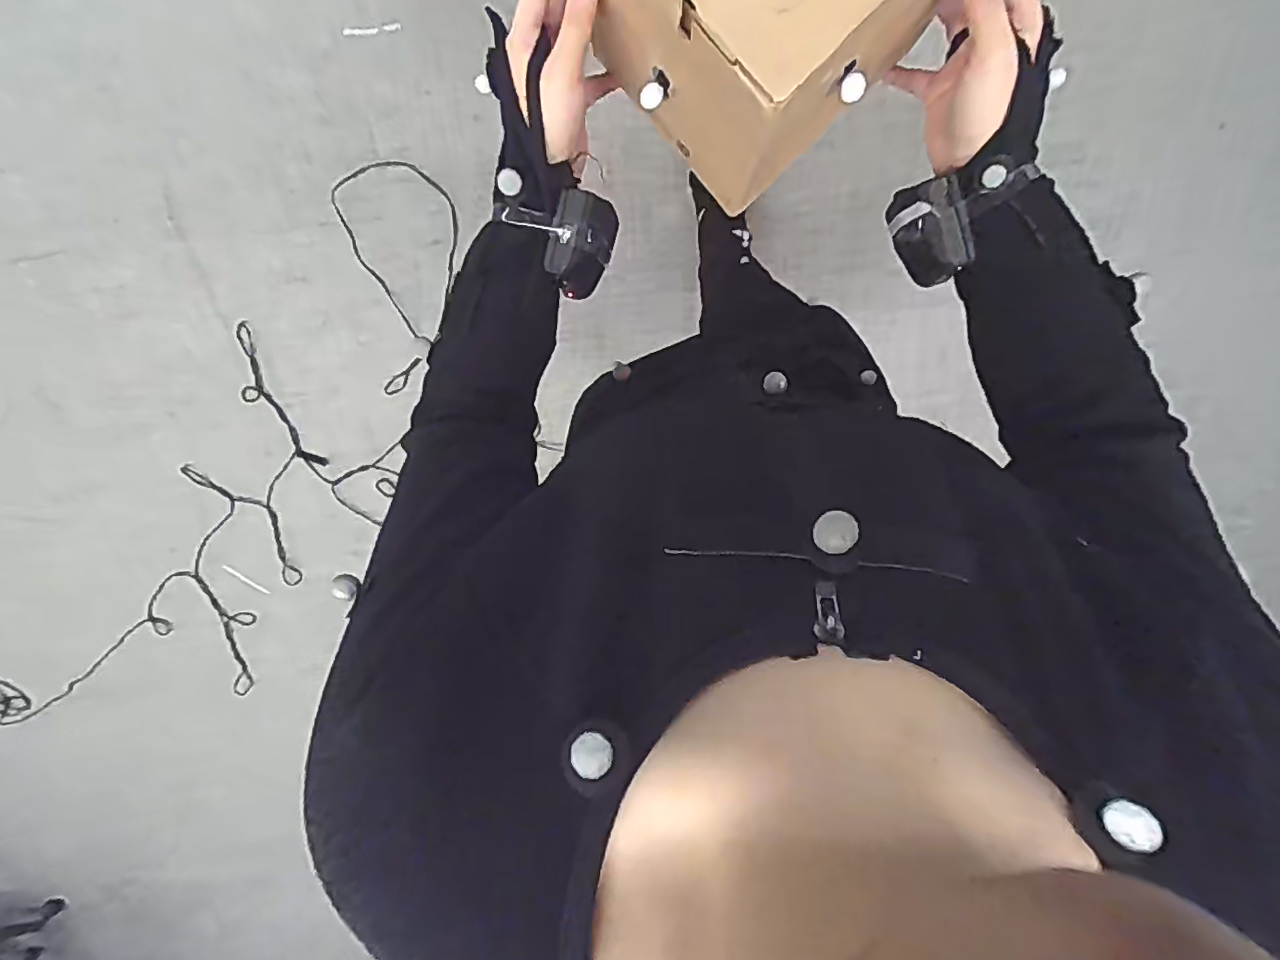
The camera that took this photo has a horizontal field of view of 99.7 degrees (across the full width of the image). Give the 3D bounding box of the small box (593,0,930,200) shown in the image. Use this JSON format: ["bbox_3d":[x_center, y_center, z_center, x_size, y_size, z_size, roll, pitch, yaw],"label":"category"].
[{"bbox_3d":[0.078,-0.316,0.333,0.179,0.176,0.168,-42,94,9],"label":"small box"}]
